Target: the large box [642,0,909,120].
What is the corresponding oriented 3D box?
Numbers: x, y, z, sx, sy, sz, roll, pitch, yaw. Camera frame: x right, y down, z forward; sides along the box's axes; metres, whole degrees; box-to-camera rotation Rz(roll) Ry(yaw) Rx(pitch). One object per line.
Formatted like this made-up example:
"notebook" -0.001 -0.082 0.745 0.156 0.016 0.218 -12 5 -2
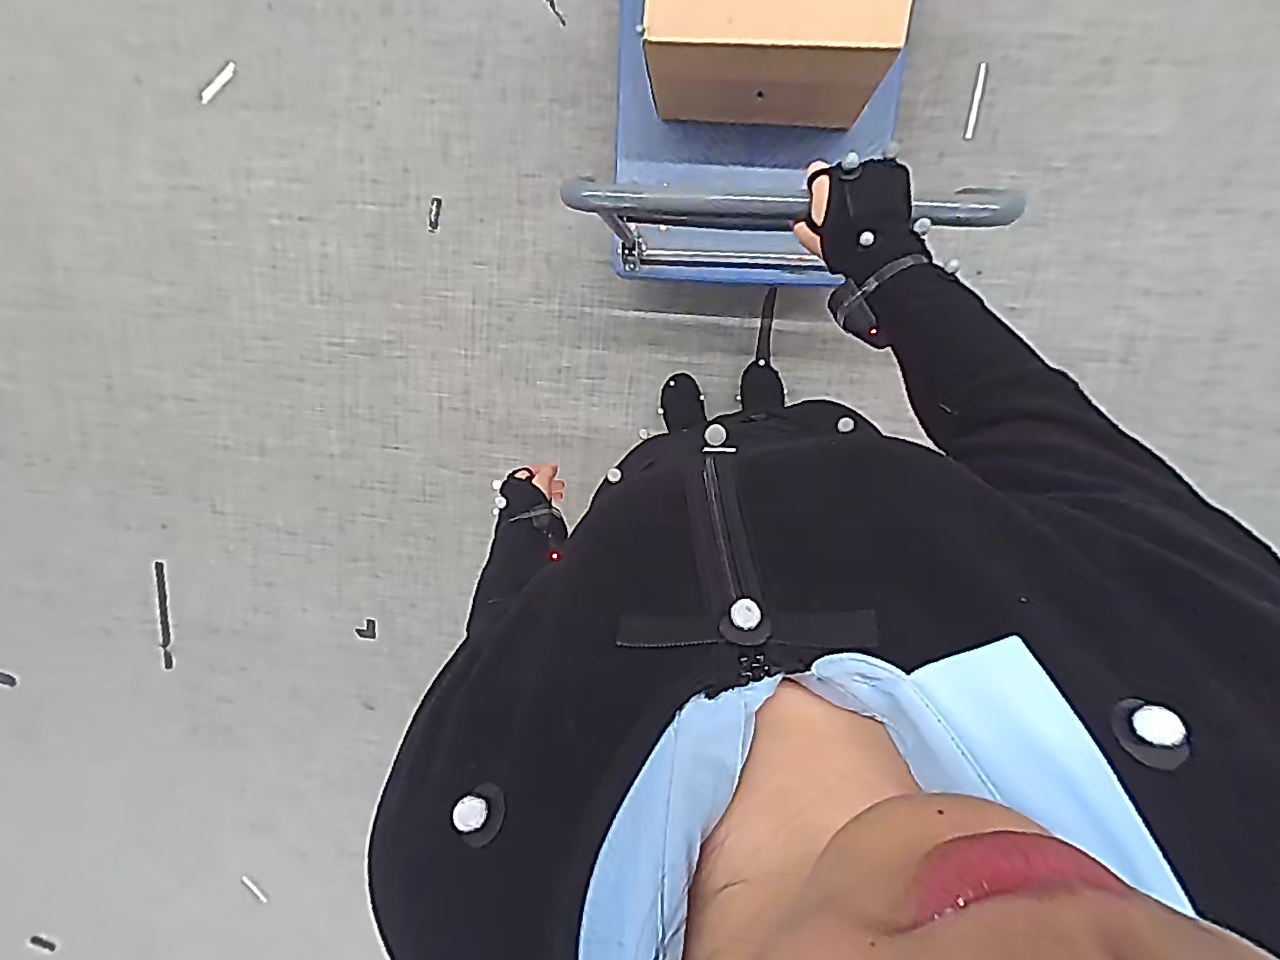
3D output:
"large box" 0.229 -0.858 0.939 0.408 0.320 0.320 6 103 7
